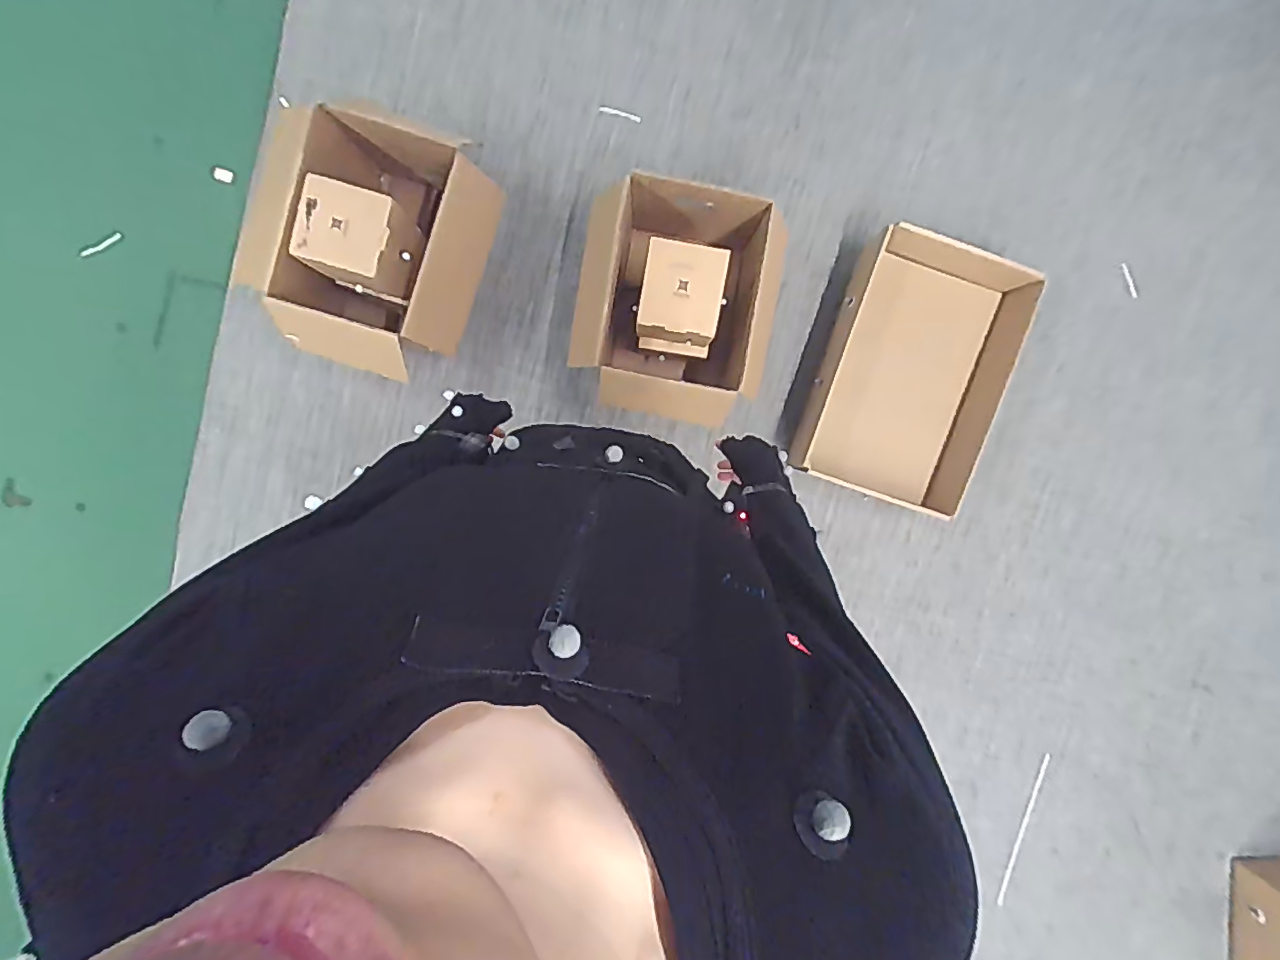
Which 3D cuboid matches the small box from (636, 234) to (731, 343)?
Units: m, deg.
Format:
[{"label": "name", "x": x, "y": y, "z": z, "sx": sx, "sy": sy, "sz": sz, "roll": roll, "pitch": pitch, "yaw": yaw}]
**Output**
[{"label": "small box", "x": 0.087, "y": -0.402, "z": 1.167, "sx": 0.168, "sy": 0.176, "sz": 0.179, "roll": 10, "pitch": 97, "yaw": -2}]
